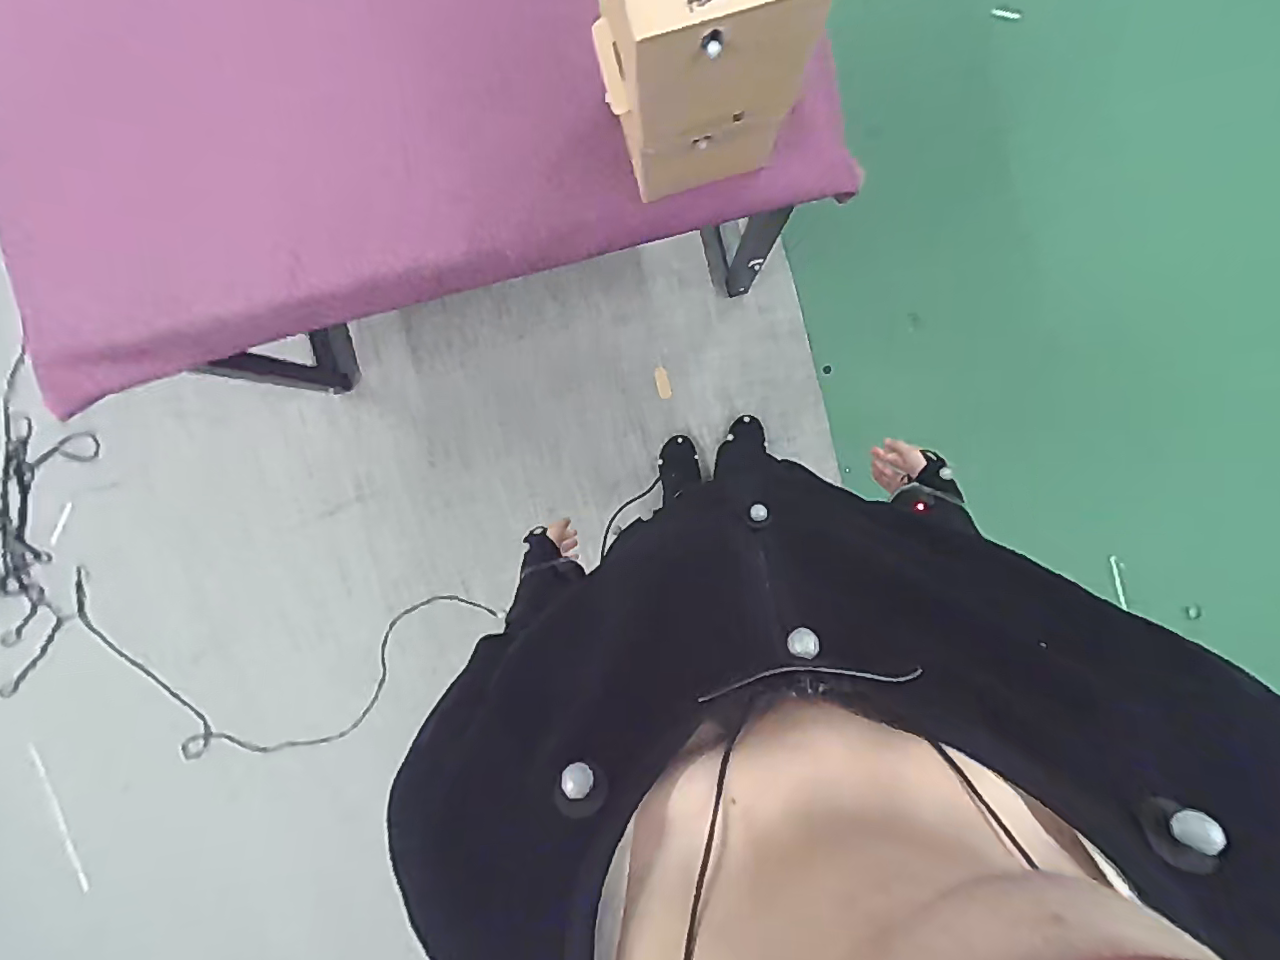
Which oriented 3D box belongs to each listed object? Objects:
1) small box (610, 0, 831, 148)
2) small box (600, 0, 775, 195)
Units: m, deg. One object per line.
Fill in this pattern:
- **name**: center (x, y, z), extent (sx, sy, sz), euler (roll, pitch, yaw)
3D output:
- **small box**: center (0.059, -0.454, 0.498), extent (0.168, 0.176, 0.179), euler (-13, 92, 4)
- **small box**: center (0.064, -0.482, 0.661), extent (0.179, 0.176, 0.168), euler (-16, 93, 4)
